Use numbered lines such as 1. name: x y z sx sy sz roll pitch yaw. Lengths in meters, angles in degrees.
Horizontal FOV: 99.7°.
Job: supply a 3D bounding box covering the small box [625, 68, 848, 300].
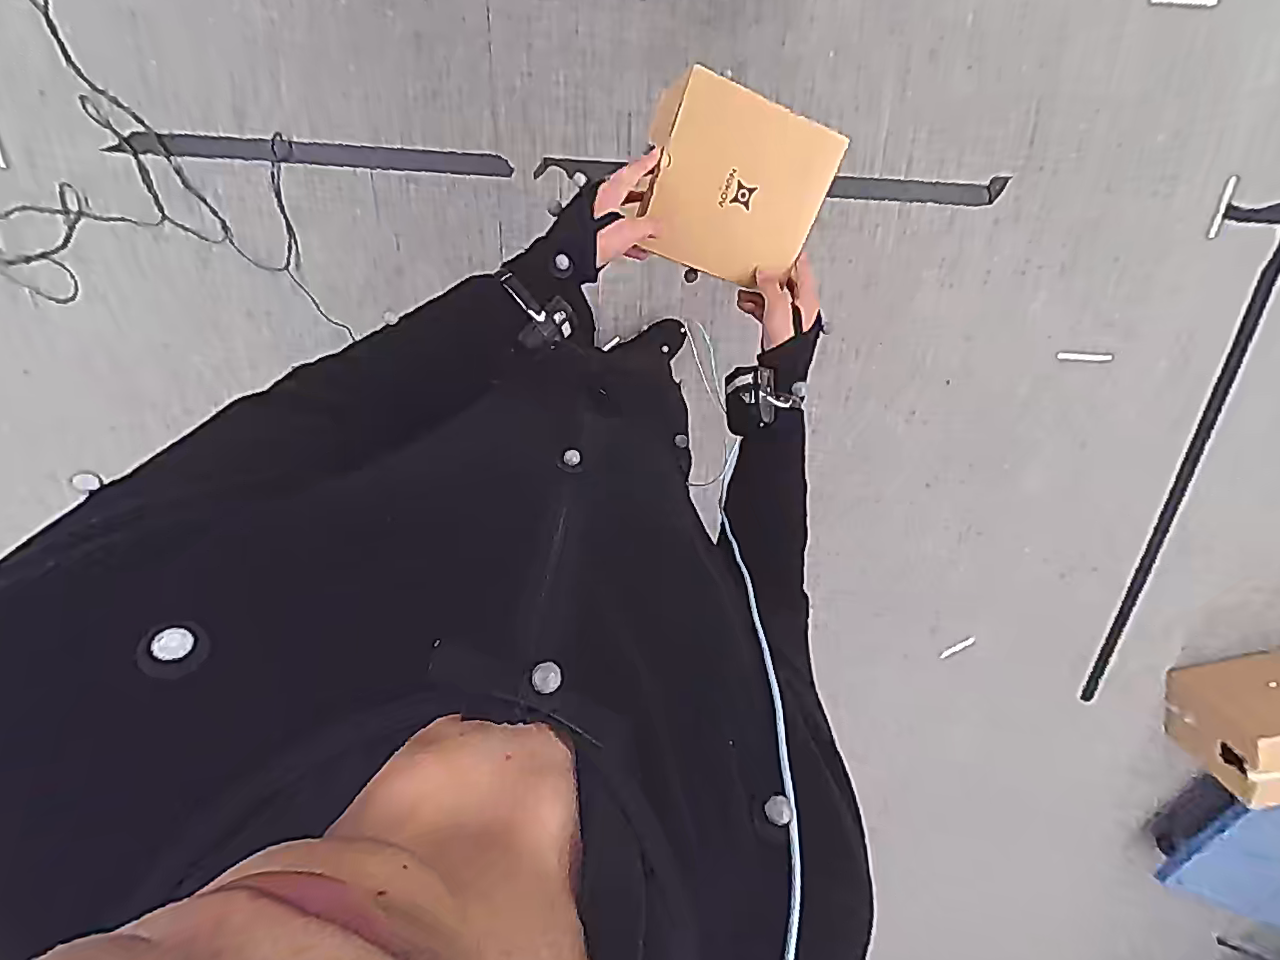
1. small box: 0.092 -0.327 0.614 0.179 0.176 0.168 14 116 -14
